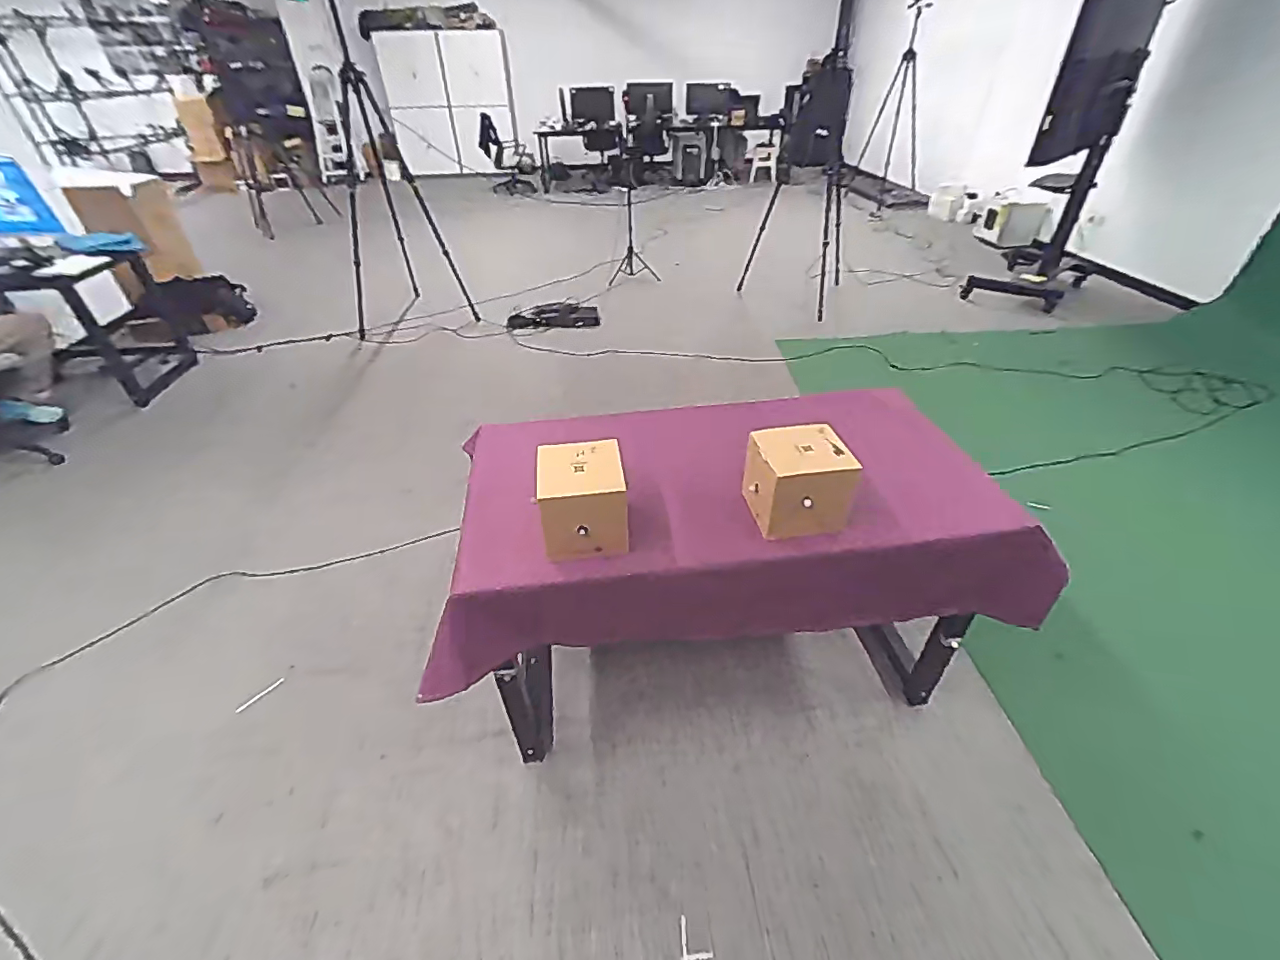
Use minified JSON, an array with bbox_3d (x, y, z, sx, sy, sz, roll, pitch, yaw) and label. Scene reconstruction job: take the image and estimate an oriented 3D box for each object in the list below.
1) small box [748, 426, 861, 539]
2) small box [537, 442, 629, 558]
[{"bbox_3d":[0.331,0.007,1.133,0.179,0.176,0.168,-7,38,-5],"label":"small box"},{"bbox_3d":[-0.114,0.044,1.102,0.168,0.176,0.179,-5,37,-5],"label":"small box"}]
